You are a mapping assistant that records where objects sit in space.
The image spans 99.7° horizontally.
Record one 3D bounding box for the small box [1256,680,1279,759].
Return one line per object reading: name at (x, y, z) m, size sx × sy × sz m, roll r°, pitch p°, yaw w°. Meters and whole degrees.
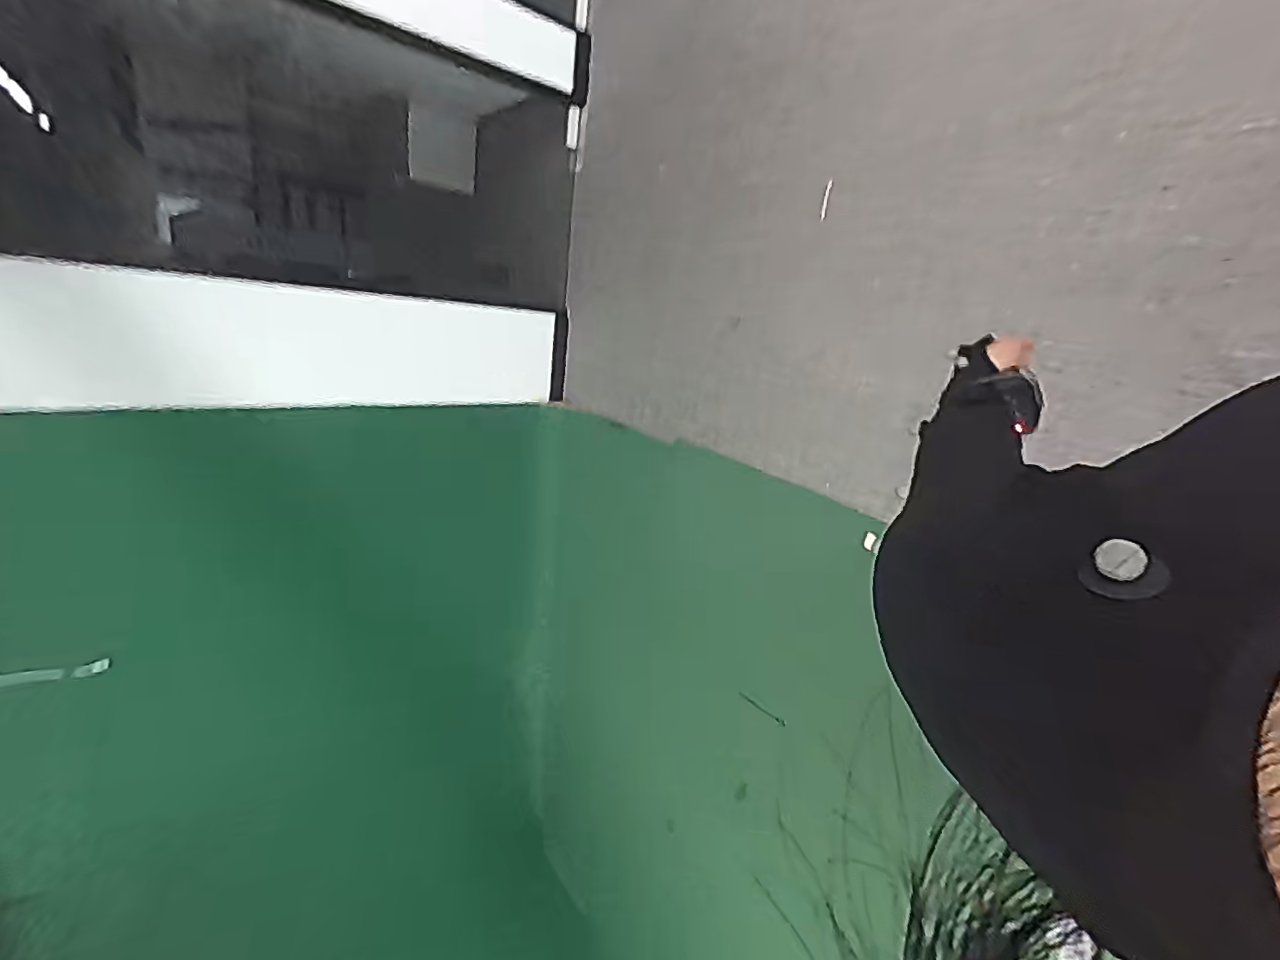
small box at (1.144, 0.385, 0.862) m, size 0.168 × 0.176 × 0.179 m, roll 32°, pitch 117°, yaw 44°
